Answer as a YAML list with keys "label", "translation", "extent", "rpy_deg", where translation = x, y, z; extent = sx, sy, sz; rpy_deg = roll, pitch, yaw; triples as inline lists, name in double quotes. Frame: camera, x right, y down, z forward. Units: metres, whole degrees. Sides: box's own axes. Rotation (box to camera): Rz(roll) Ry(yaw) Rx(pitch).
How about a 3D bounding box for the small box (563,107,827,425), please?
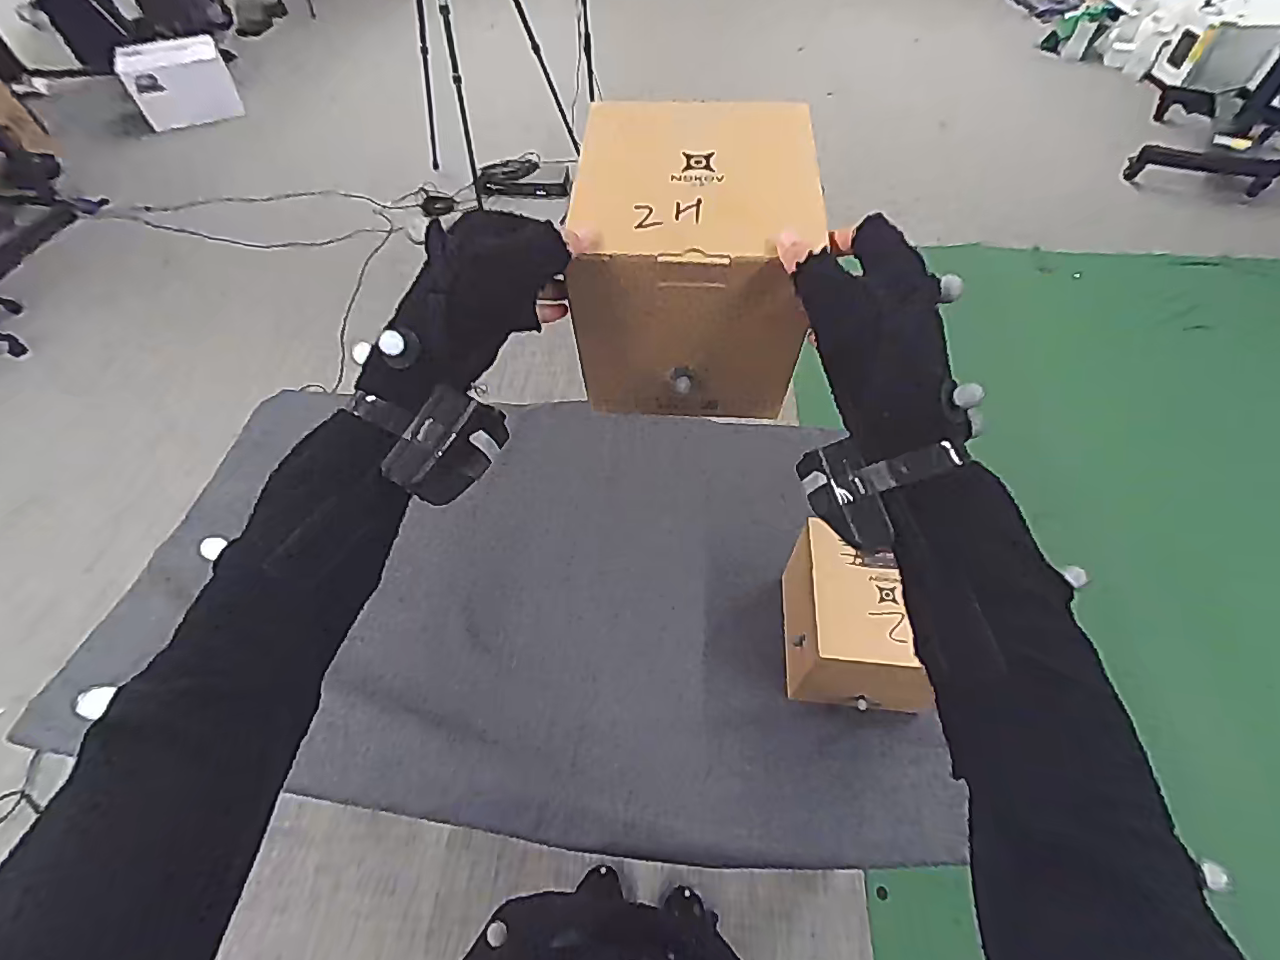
- label: "small box"
  translation: [0.040, -0.167, 0.440]
  extent: [0.168, 0.176, 0.179]
  rpy_deg: [3, 61, 4]
